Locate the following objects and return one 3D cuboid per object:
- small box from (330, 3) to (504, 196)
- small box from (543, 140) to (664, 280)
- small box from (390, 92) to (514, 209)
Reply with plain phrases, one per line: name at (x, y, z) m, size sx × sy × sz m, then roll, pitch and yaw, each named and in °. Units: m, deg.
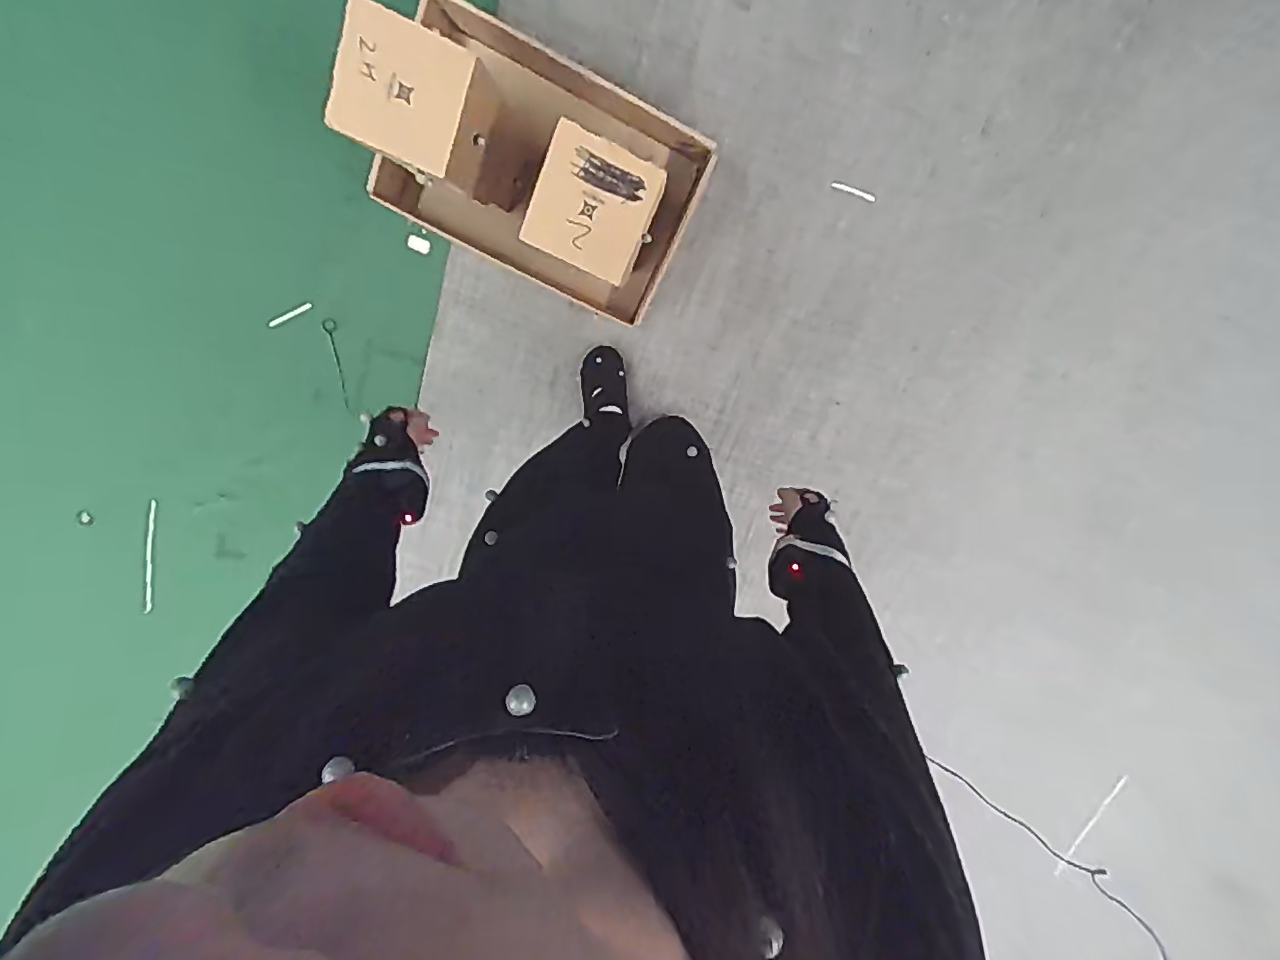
small box at (-0.325, -0.555, 0.822) m, size 0.179 × 0.176 × 0.168 m, roll 22°, pitch 107°, yaw -9°
small box at (-0.063, -0.491, 1.017) m, size 0.168 × 0.176 × 0.179 m, roll 23°, pitch 106°, yaw -7°
small box at (-0.339, -0.618, 0.974) m, size 0.168 × 0.176 × 0.179 m, roll 24°, pitch 108°, yaw -9°
